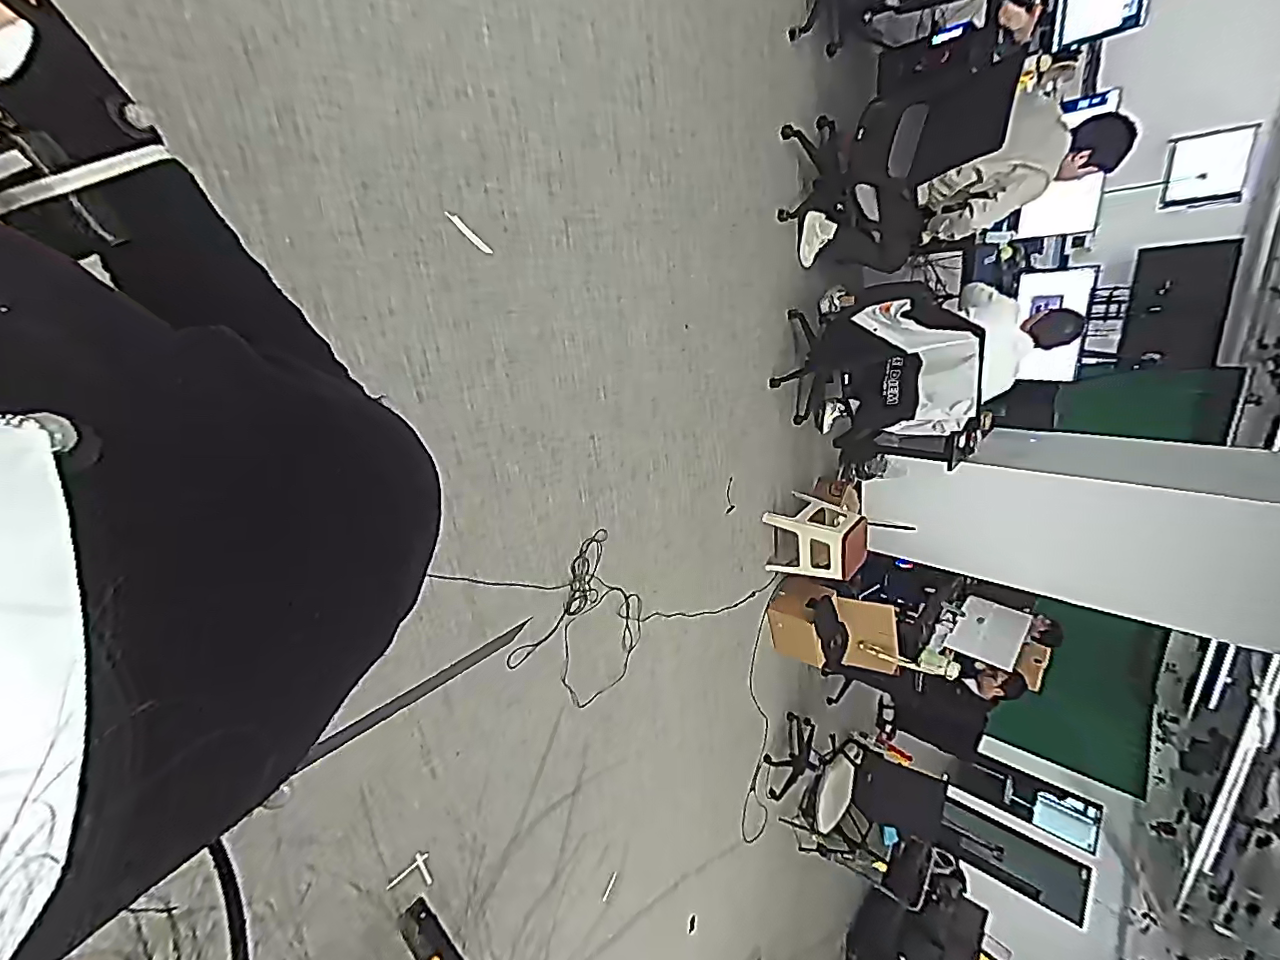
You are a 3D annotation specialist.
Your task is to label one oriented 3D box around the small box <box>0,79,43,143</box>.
[{"bbox_3d":[-0.756,-0.447,0.534,0.179,0.176,0.168,-29,121,-41],"label":"small box"}]
